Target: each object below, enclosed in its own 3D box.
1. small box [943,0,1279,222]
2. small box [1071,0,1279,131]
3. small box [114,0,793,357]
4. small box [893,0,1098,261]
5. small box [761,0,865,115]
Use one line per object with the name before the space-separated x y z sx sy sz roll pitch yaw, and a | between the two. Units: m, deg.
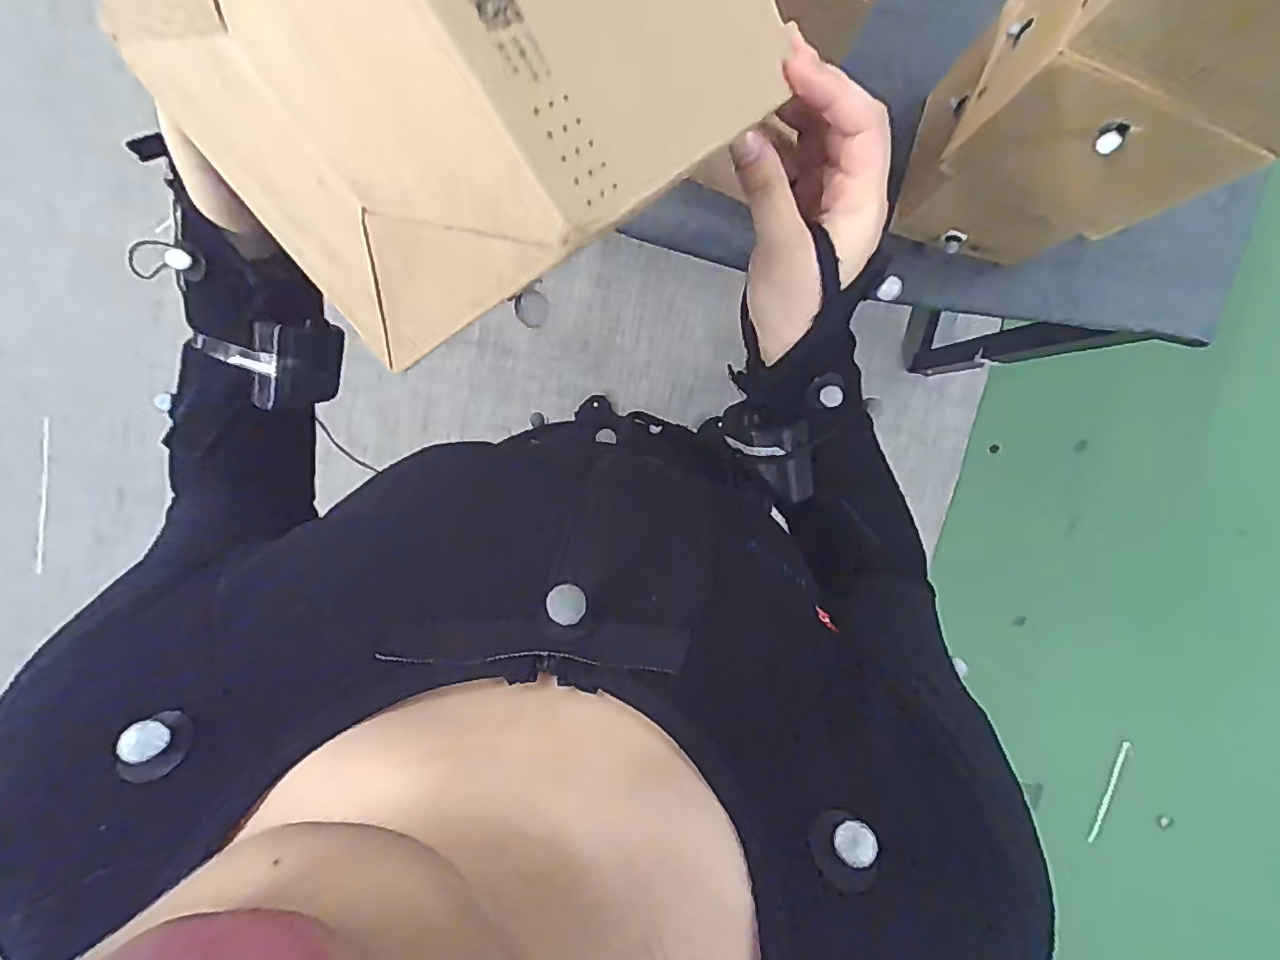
small box | 0.400 -0.341 0.443 0.179 0.176 0.168 25 96 1
small box | 0.395 -0.325 0.279 0.179 0.176 0.168 27 96 1
small box | -0.075 -0.174 0.226 0.176 0.179 0.168 -51 118 -30
small box | 0.411 -0.372 0.603 0.168 0.176 0.179 14 97 2
small box | 0.097 -0.441 0.443 0.179 0.176 0.168 15 96 1
